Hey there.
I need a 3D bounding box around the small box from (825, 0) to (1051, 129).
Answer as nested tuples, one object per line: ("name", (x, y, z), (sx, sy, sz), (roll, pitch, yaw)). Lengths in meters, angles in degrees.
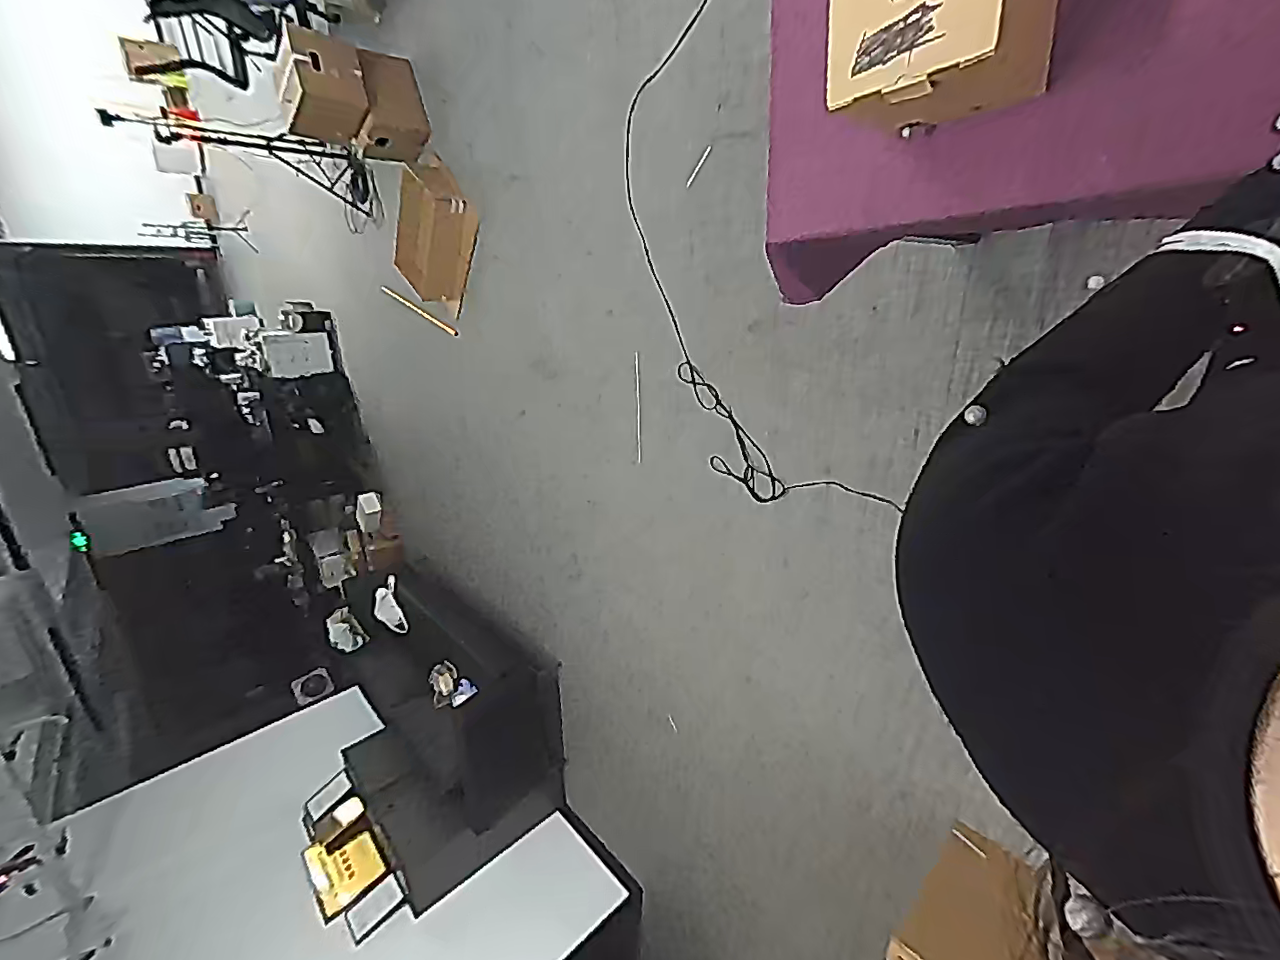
("small box", (0.315, -0.493, 0.568), (0.168, 0.176, 0.179), (15, 114, 45))
